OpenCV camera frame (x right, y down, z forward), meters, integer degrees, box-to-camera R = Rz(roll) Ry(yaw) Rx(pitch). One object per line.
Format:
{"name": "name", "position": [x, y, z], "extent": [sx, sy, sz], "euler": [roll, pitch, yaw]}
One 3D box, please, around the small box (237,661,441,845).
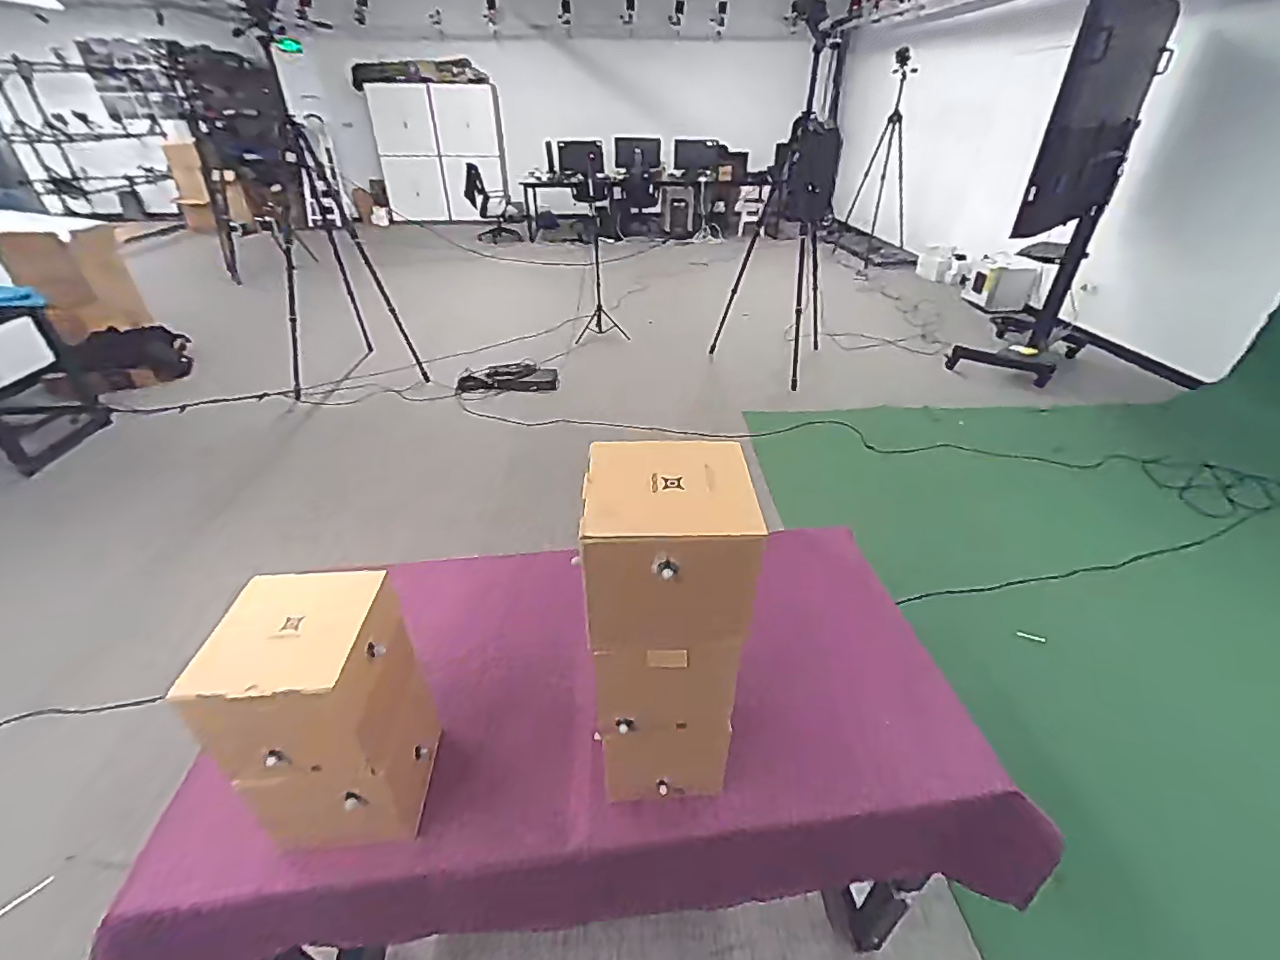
{"name": "small box", "position": [-0.392, 0.375, 0.748], "extent": [0.179, 0.176, 0.168], "euler": [-3, 34, -3]}

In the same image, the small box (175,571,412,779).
{"name": "small box", "position": [-0.397, 0.235, 0.664], "extent": [0.168, 0.176, 0.179], "euler": [-3, 35, -3]}

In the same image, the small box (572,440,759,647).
{"name": "small box", "position": [0.025, 0.070, 0.604], "extent": [0.179, 0.176, 0.168], "euler": [0, 36, 0]}

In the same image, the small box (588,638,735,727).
{"name": "small box", "position": [0.025, 0.201, 0.702], "extent": [0.168, 0.176, 0.179], "euler": [-2, 34, -1]}
